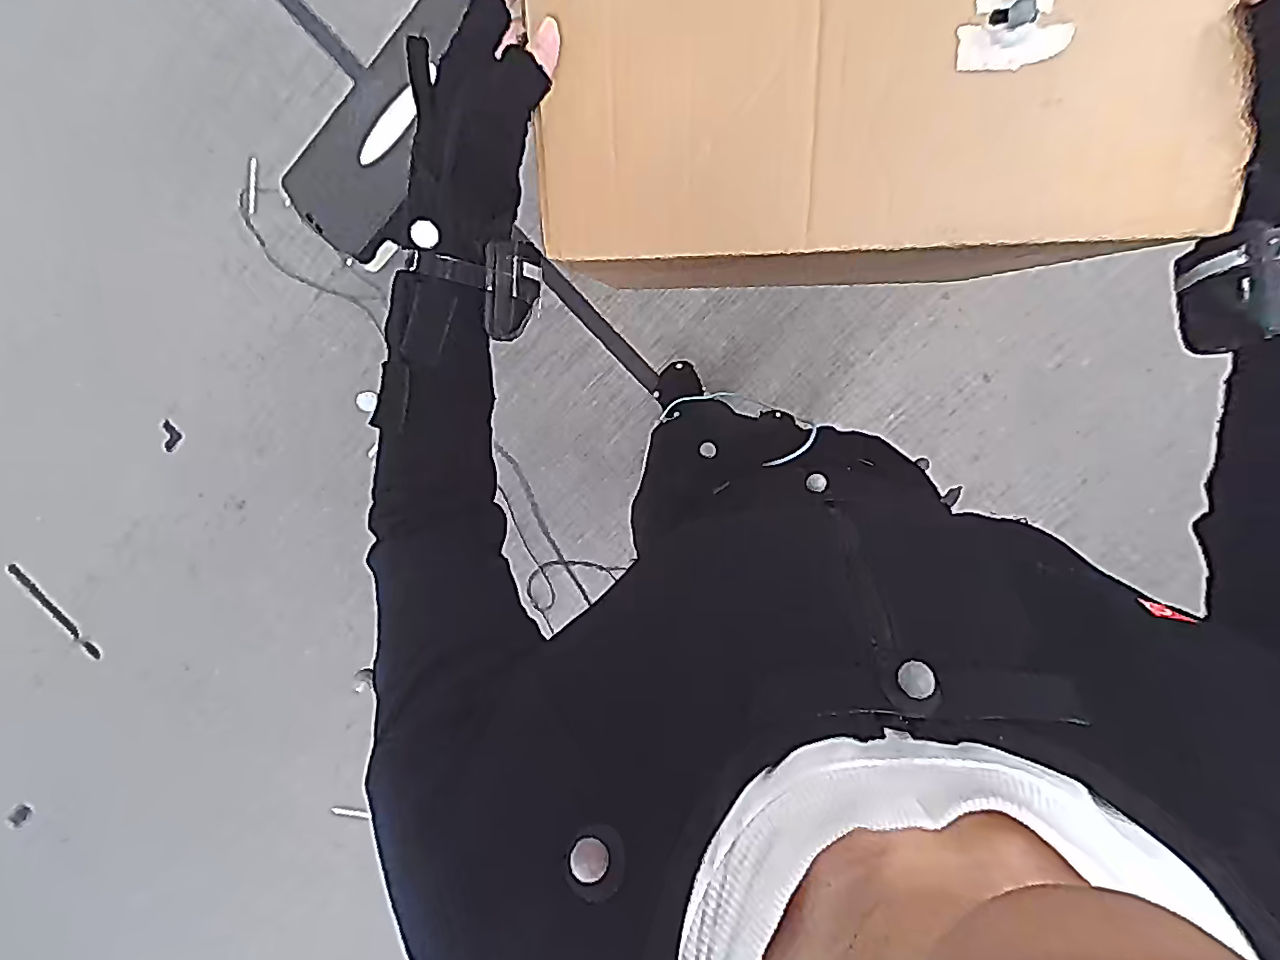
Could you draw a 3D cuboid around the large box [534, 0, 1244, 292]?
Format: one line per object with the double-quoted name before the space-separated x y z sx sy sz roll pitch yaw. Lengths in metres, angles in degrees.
"large box" 0.142 -0.340 0.447 0.408 0.320 0.320 -1 106 5
